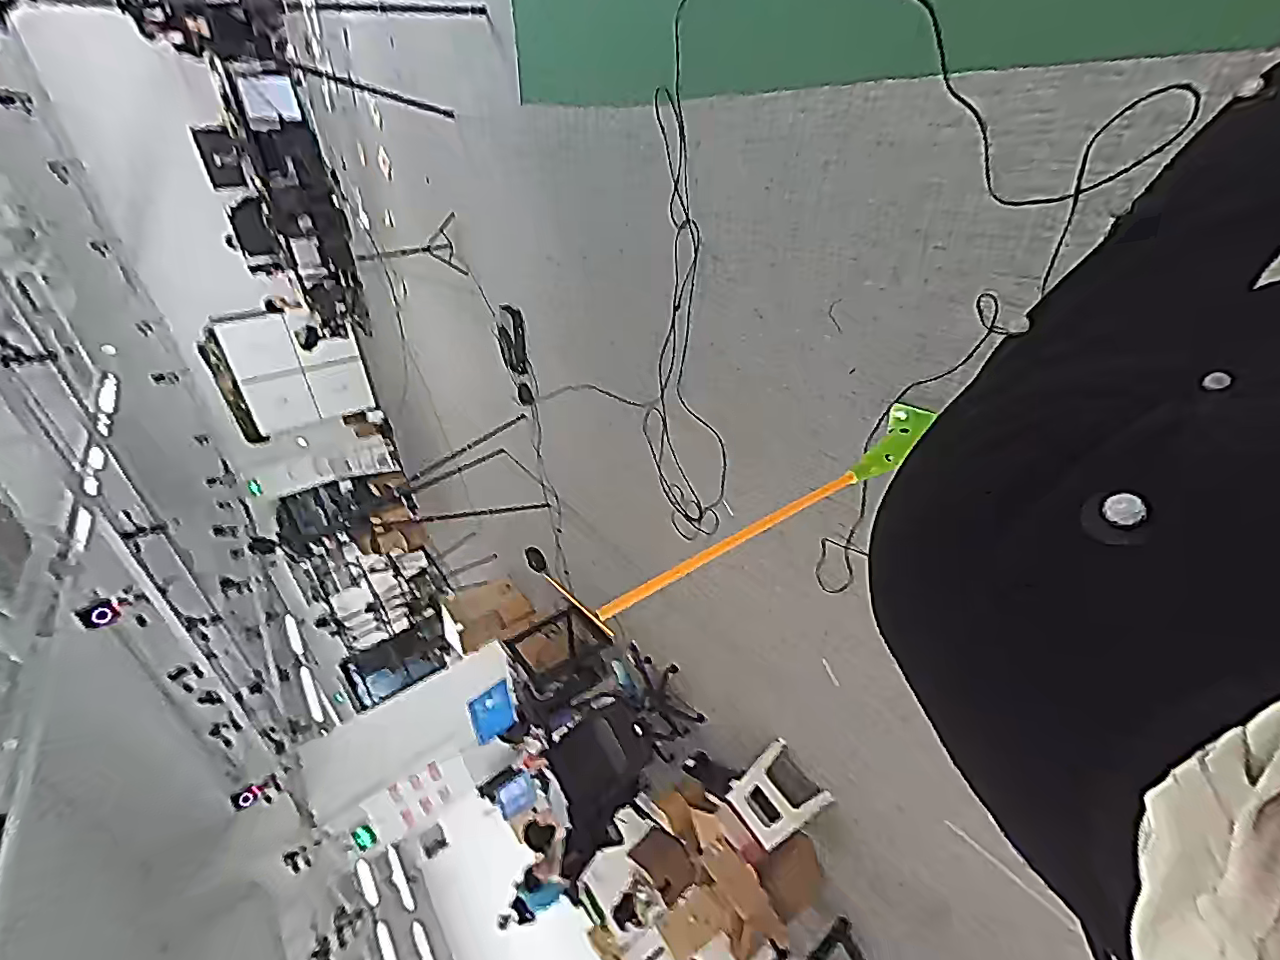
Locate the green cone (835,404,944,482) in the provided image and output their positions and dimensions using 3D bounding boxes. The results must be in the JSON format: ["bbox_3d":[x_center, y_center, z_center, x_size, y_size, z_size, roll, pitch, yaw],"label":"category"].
[{"bbox_3d":[0.734,-0.075,1.664,0.202,0.368,0.200,33,136,46],"label":"green cone"}]
